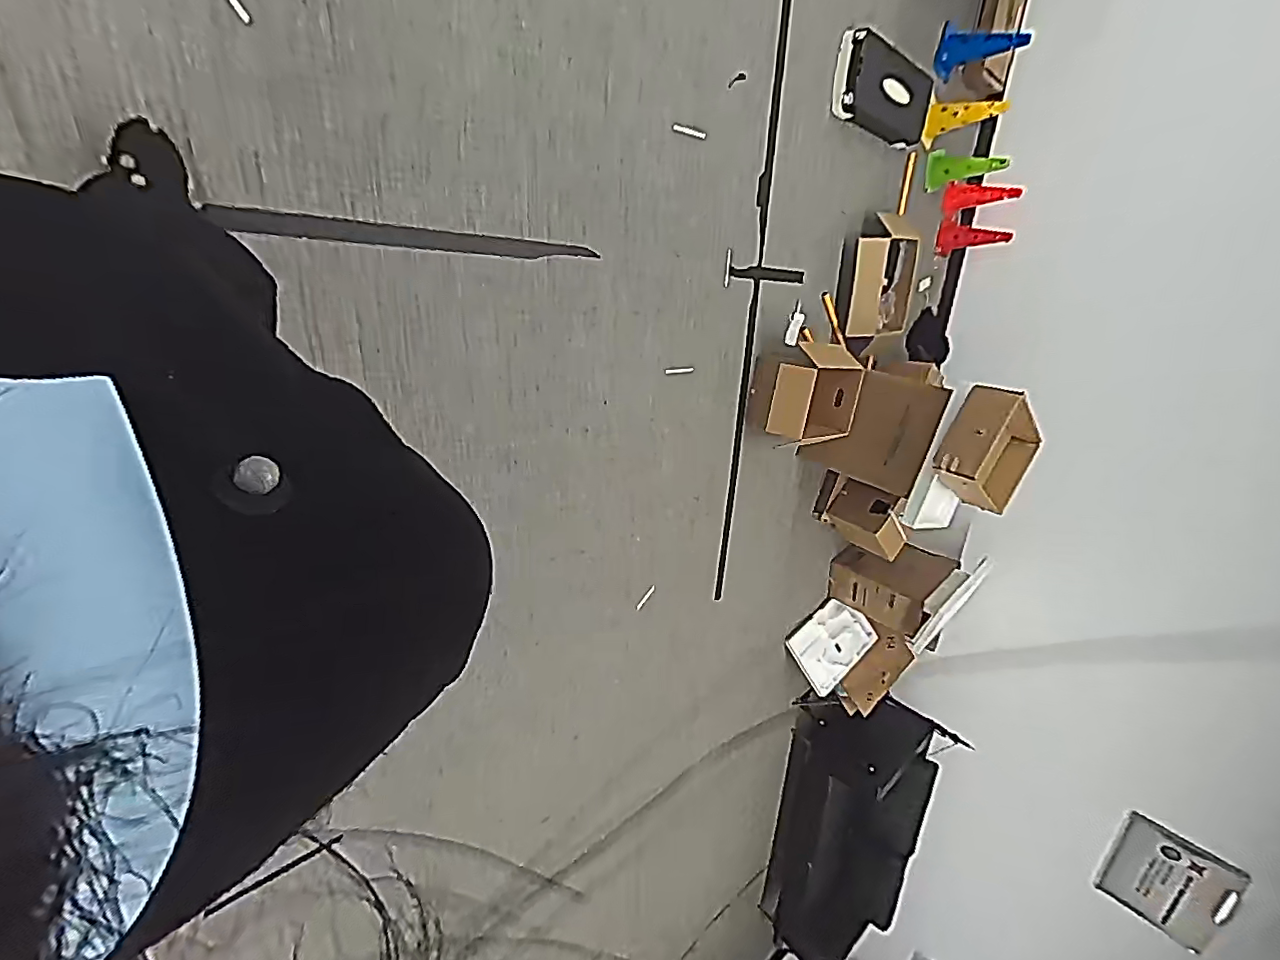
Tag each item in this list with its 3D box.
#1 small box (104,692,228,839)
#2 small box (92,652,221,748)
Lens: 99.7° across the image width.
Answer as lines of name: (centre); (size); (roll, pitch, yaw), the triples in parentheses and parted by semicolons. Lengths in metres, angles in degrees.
small box: (-0.989, 0.587, 1.135); (0.168, 0.176, 0.179); (-14, 117, -40)
small box: (-1.101, 0.533, 1.240); (0.168, 0.176, 0.179); (-28, 125, -34)
